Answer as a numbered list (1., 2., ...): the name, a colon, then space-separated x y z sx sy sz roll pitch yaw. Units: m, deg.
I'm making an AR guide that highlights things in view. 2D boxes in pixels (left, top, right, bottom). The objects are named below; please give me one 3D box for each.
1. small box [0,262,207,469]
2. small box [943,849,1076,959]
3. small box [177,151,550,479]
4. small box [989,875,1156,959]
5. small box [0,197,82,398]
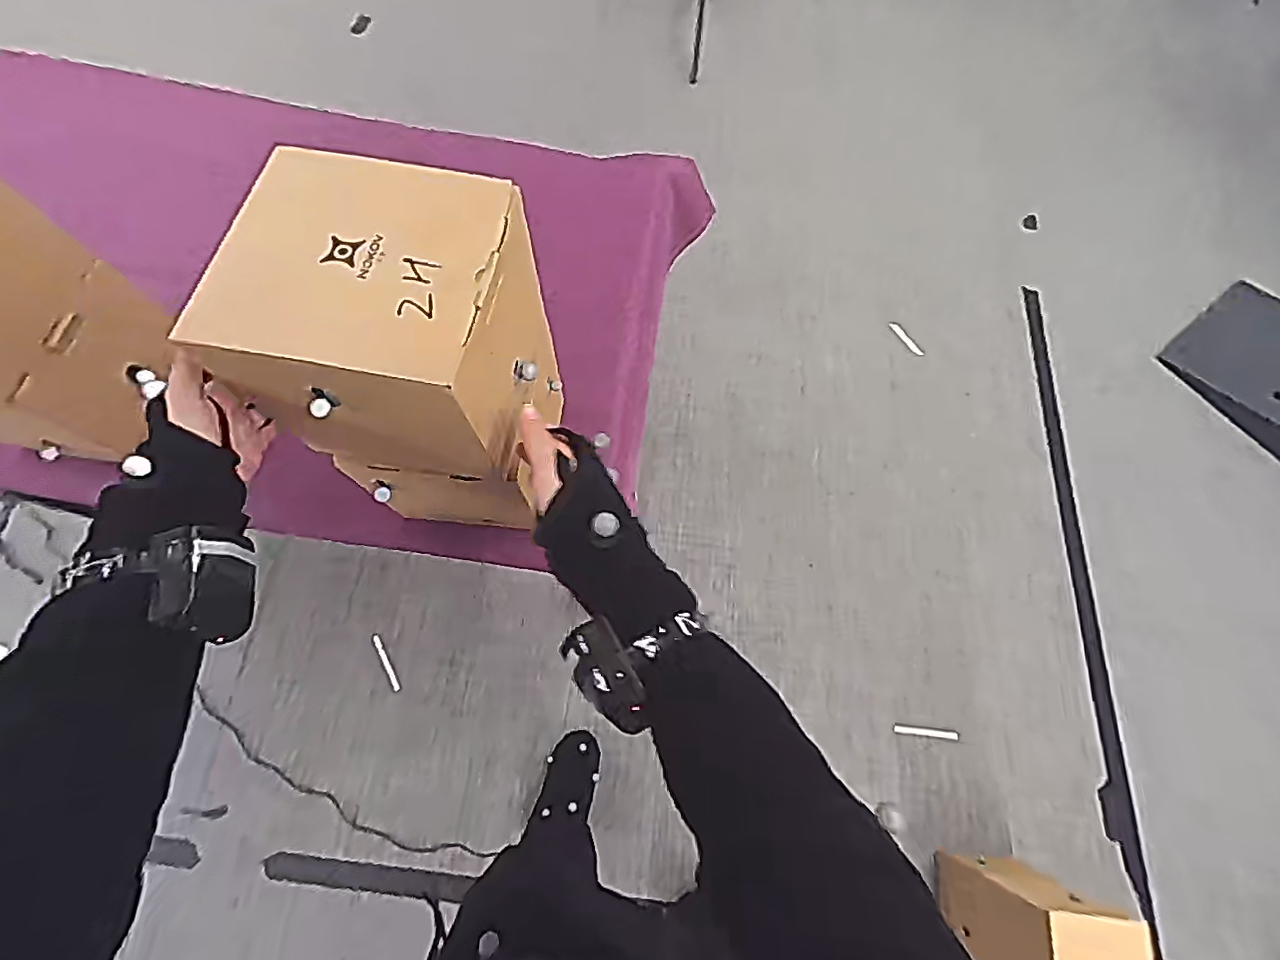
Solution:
1. small box: -0.624 -0.121 0.575 0.179 0.176 0.168 9 71 -1
2. small box: 0.734 0.862 1.081 0.179 0.176 0.168 6 72 -2
3. small box: -0.179 -0.112 0.420 0.179 0.176 0.168 10 70 1
4. small box: 0.733 0.811 0.927 0.168 0.176 0.179 7 72 -1
5. small box: -0.613 -0.170 0.417 0.168 0.176 0.179 9 70 0
